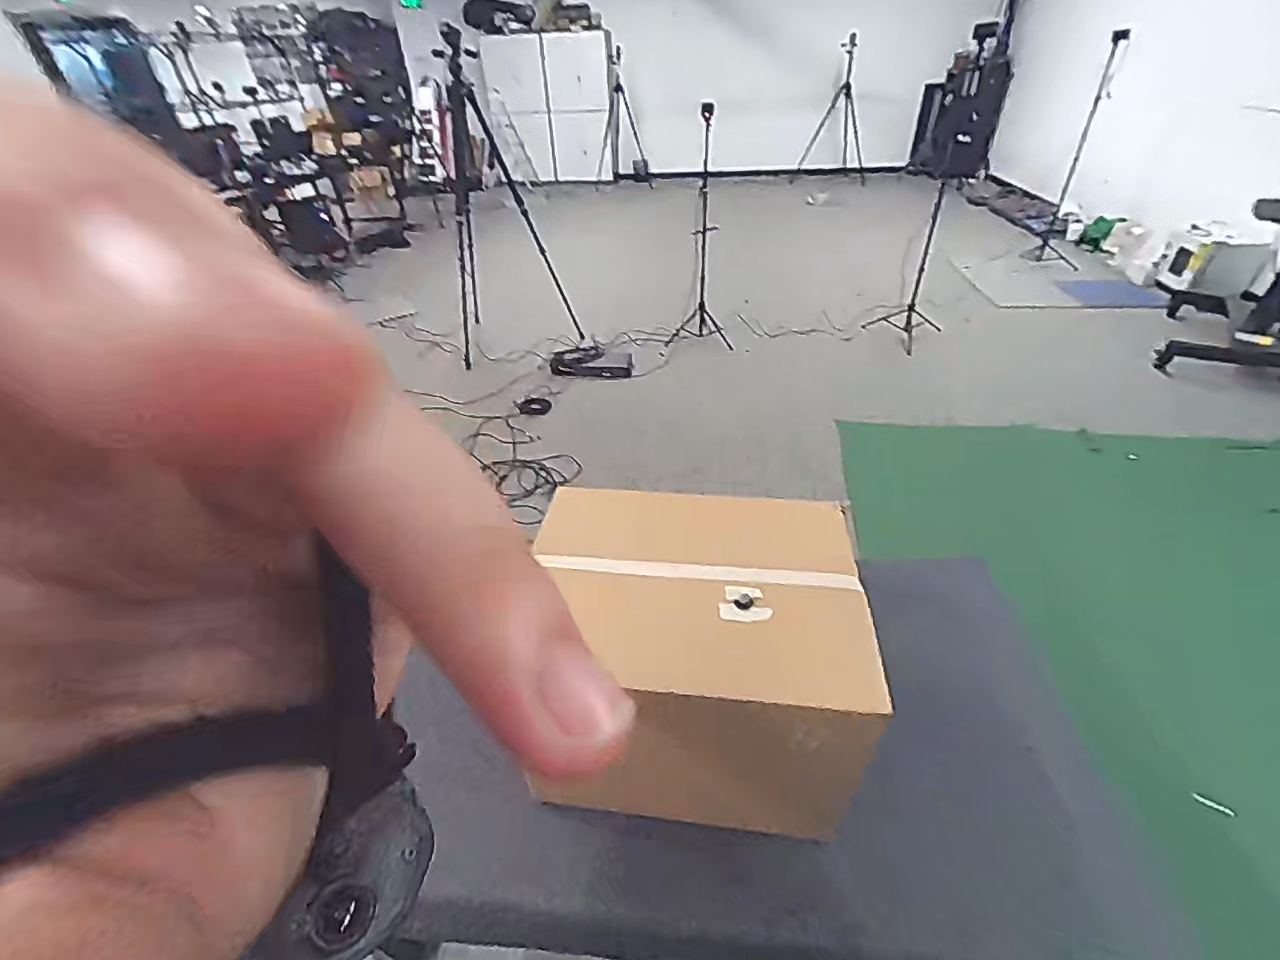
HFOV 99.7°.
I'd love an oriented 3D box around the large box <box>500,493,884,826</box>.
[{"bbox_3d":[0.065,0.238,0.757,0.408,0.320,0.320,3,38,7],"label":"large box"}]
